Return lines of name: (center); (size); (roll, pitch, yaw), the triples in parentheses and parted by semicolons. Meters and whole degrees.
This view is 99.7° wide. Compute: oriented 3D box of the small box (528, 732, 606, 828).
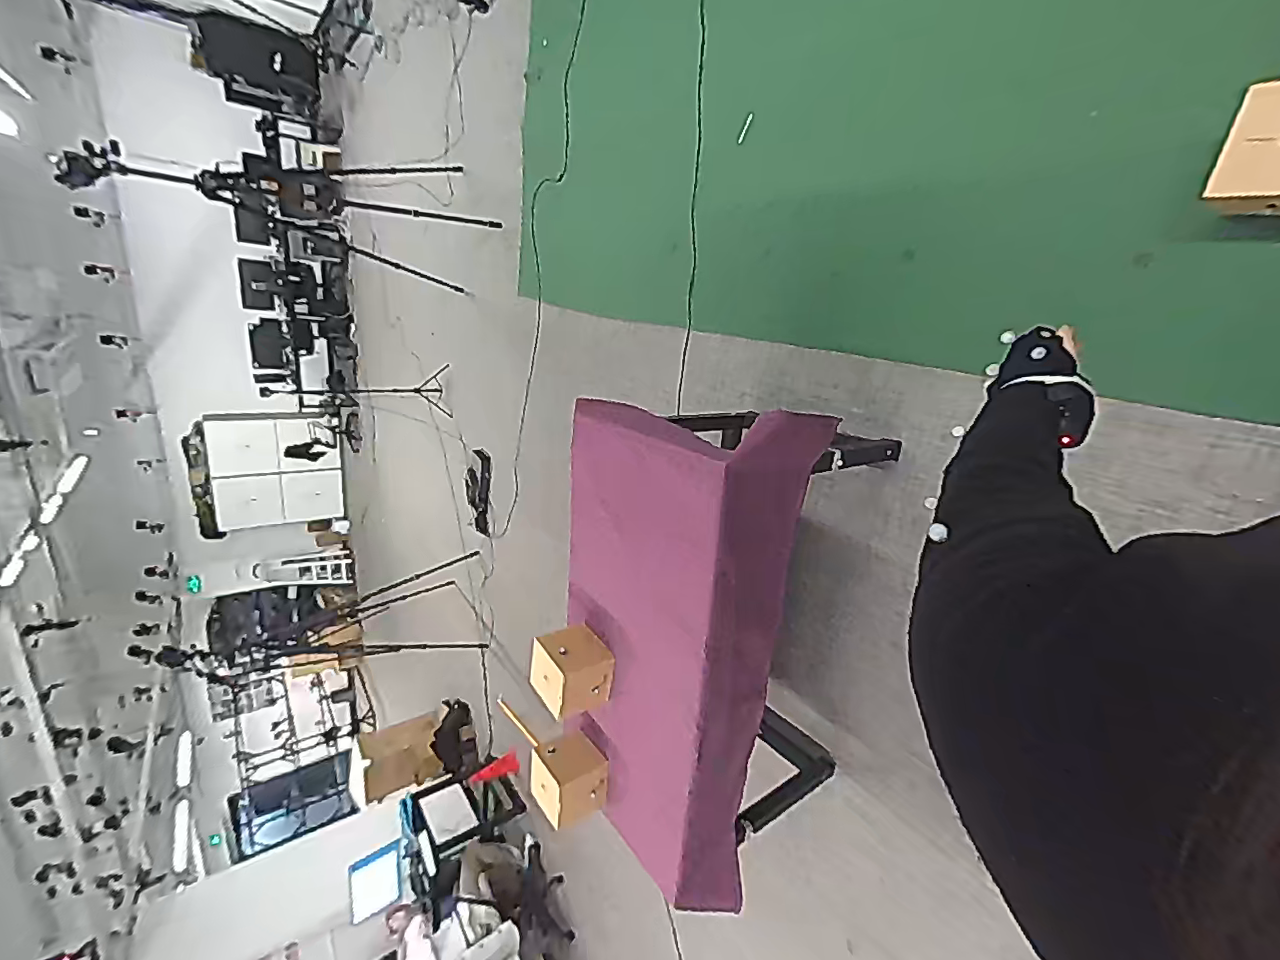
small box: (-0.225, 0.899, 1.646); (0.179, 0.176, 0.168); (24, 114, 49)

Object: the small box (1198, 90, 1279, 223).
small box: (1.081, -0.524, 0.882); (0.179, 0.176, 0.168); (32, 120, 48)

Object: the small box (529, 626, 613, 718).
small box: (-0.201, 0.542, 1.561); (0.179, 0.176, 0.168); (33, 121, 45)
